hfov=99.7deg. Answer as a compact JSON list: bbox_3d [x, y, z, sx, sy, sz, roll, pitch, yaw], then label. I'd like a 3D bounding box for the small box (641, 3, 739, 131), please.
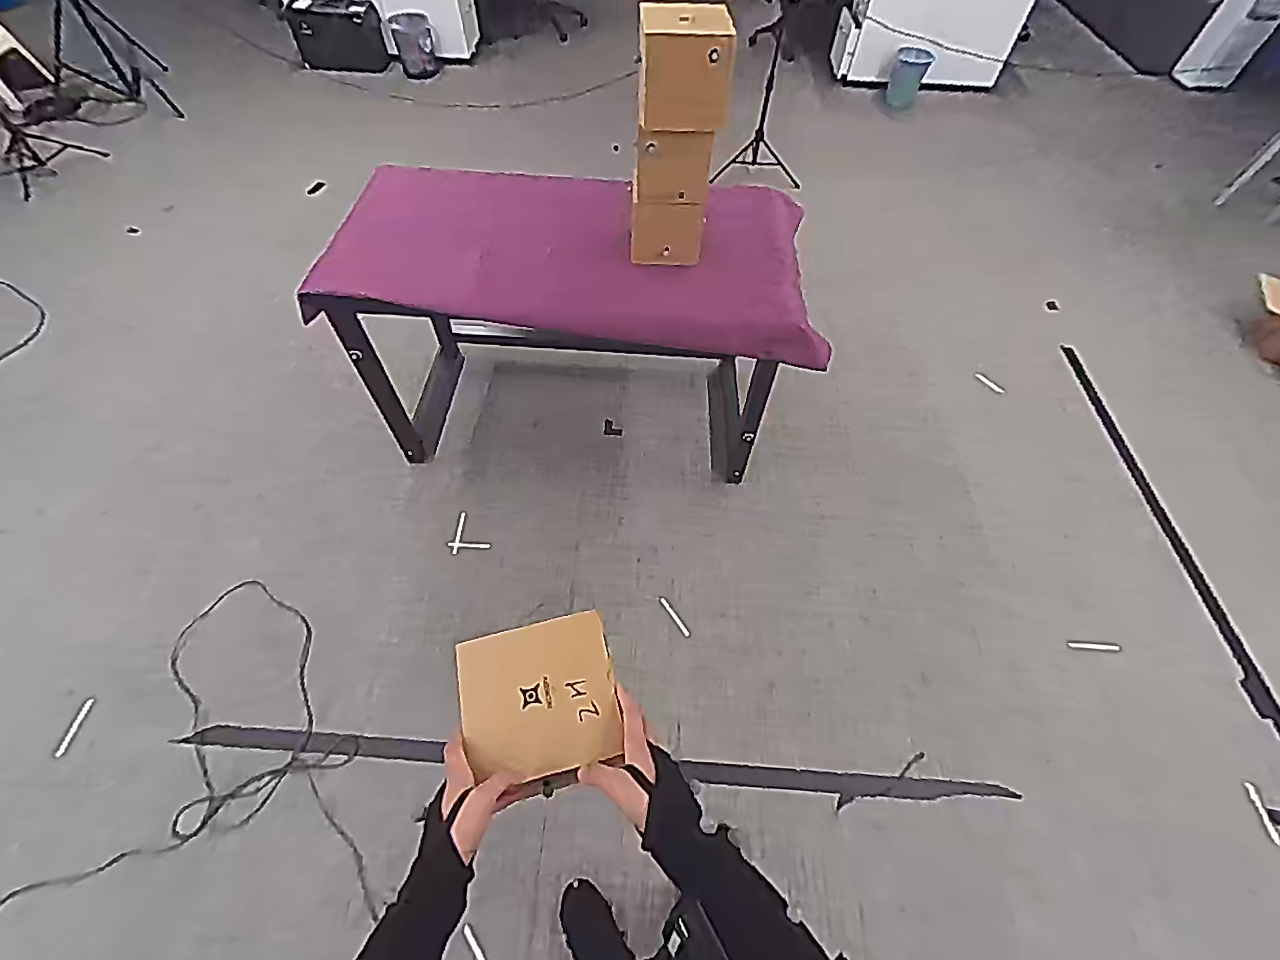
[{"bbox_3d":[0.092,-0.837,1.101,0.179,0.176,0.168,-1,56,-3],"label":"small box"}]

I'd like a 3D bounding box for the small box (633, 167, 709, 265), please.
[{"bbox_3d":[0.073,-0.670,1.383,0.179,0.176,0.168,1,56,-2],"label":"small box"}]

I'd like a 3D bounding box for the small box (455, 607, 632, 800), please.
[{"bbox_3d":[-0.112,0.280,0.665,0.179,0.176,0.168,-12,58,-7],"label":"small box"}]
